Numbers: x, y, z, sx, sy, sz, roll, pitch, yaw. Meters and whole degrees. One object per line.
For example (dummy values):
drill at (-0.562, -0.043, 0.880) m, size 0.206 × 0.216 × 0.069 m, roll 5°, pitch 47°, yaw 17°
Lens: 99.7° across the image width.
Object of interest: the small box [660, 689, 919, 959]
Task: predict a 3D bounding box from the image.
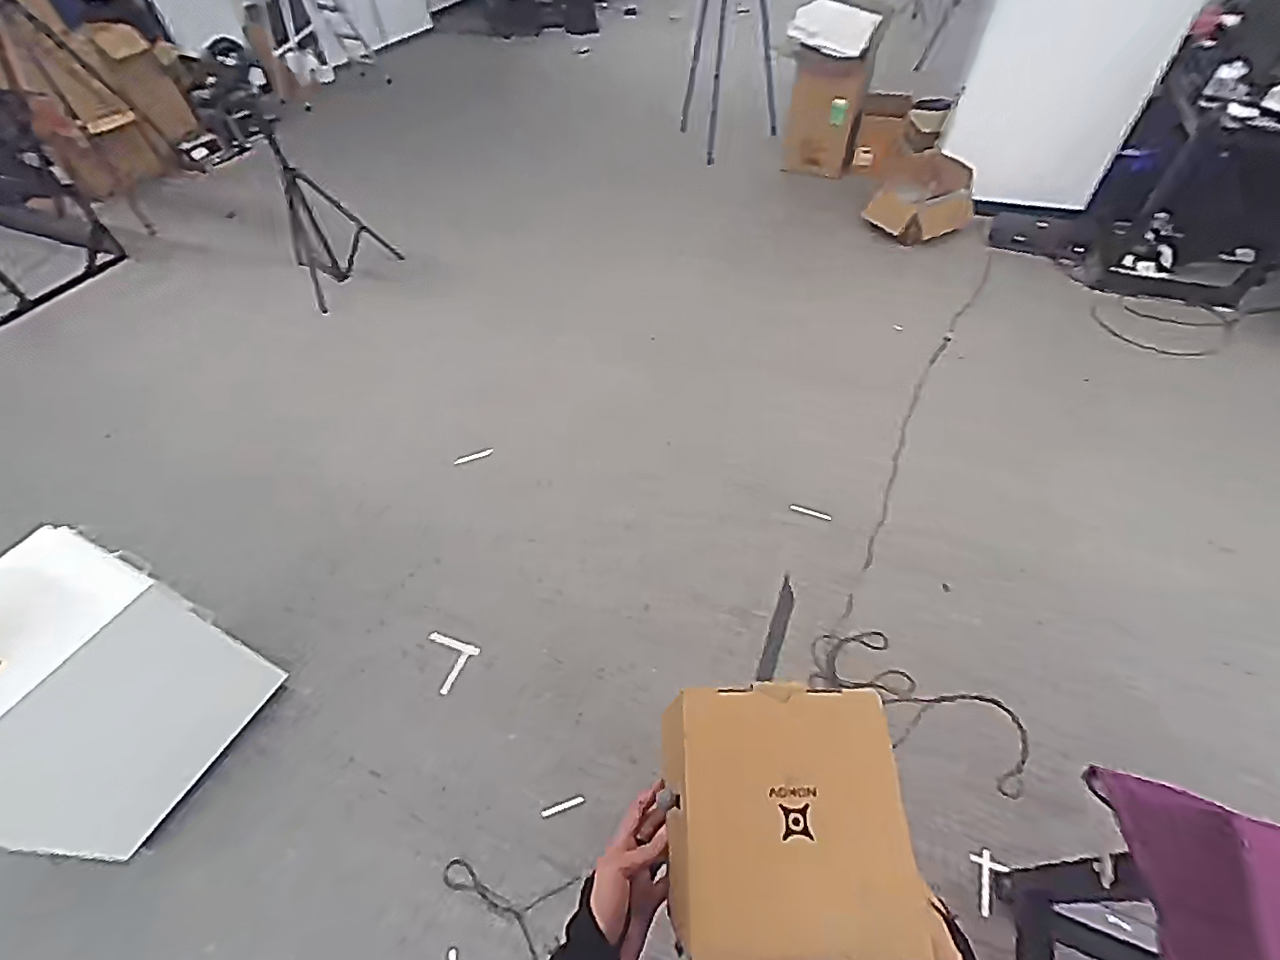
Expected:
small box at (0.106, 0.288, 0.473) m, size 0.168 × 0.176 × 0.179 m, roll 0°, pitch 59°, yaw -2°
